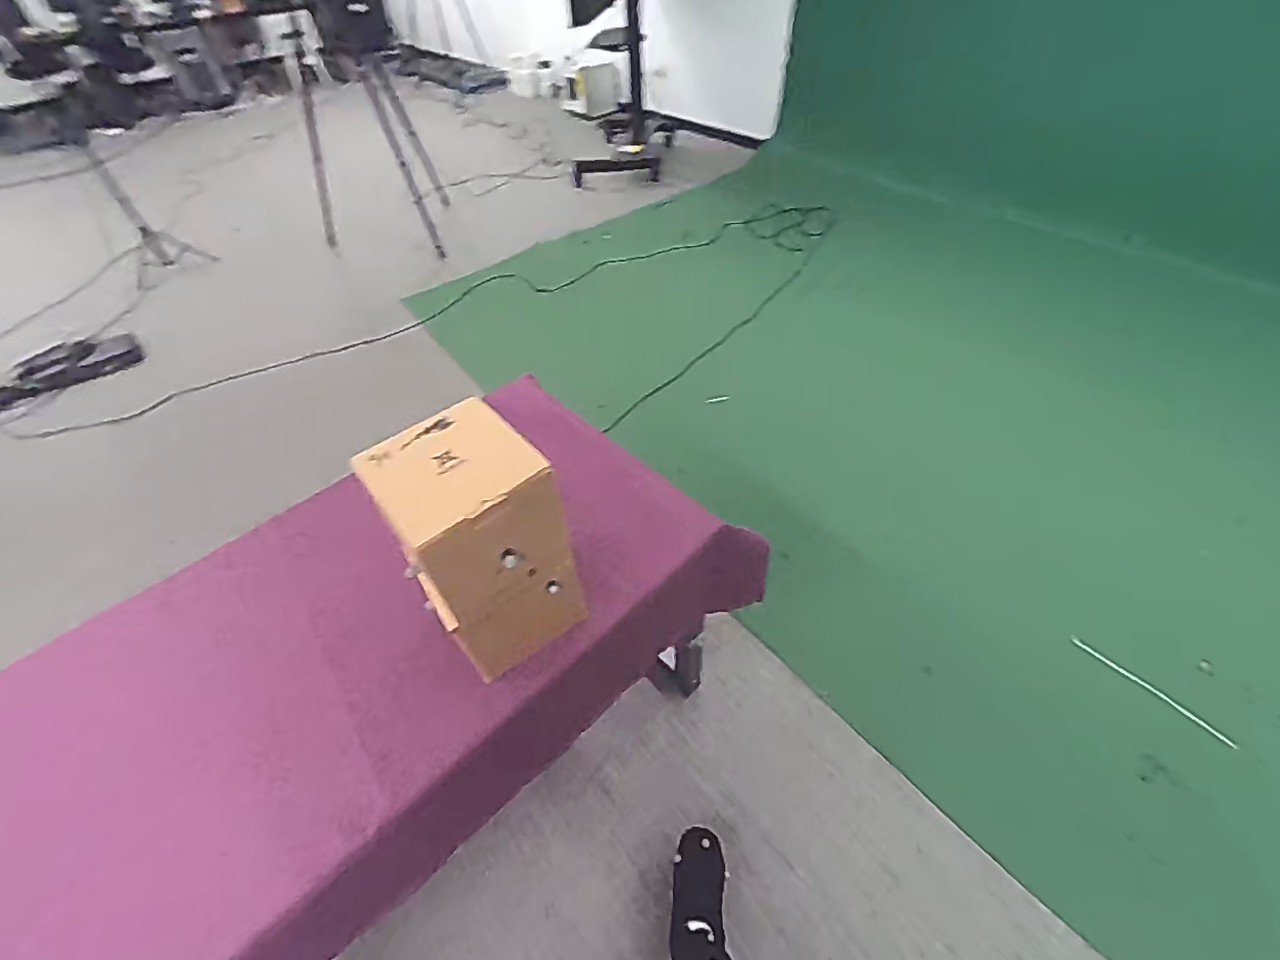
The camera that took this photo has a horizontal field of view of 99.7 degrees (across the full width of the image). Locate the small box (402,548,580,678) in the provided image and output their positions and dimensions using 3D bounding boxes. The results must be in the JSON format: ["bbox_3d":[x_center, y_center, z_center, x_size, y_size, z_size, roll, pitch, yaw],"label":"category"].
[{"bbox_3d":[-0.207,0.151,0.784,0.179,0.176,0.168,-30,53,-22],"label":"small box"}]

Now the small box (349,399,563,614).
[{"bbox_3d":[-0.213,0.039,0.664,0.168,0.176,0.179,-34,55,-25],"label":"small box"}]
